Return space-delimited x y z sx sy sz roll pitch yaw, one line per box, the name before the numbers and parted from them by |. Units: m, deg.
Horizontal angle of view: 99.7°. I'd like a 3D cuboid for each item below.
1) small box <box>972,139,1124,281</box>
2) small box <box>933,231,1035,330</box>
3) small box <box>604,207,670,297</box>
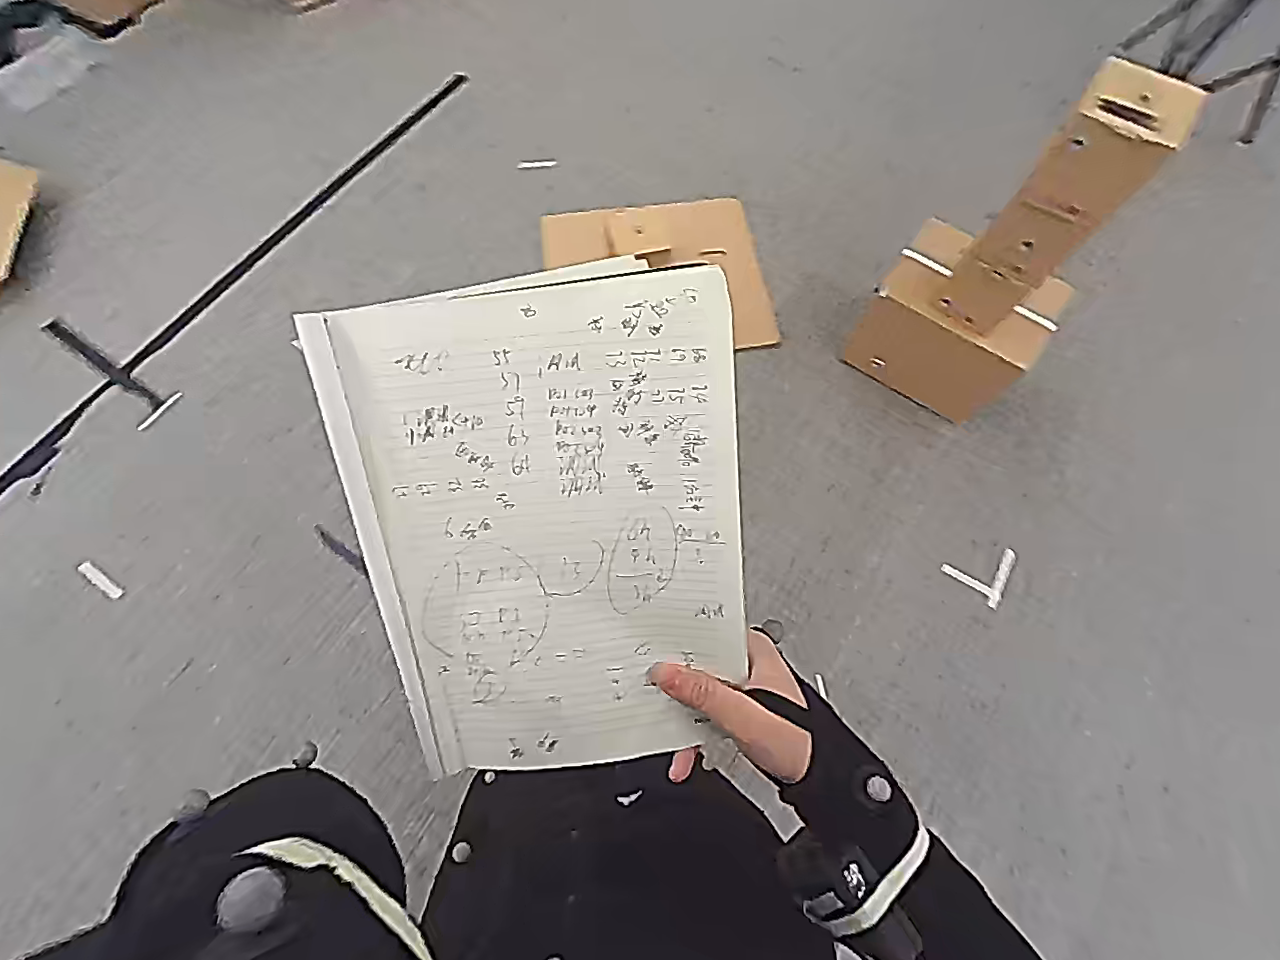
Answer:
small box | 0.840 -0.556 1.133 0.168 0.176 0.179 34 74 11
small box | 0.834 -0.492 1.284 0.168 0.176 0.179 36 73 12
small box | -0.012 -0.704 1.678 0.168 0.176 0.179 -14 72 -6
